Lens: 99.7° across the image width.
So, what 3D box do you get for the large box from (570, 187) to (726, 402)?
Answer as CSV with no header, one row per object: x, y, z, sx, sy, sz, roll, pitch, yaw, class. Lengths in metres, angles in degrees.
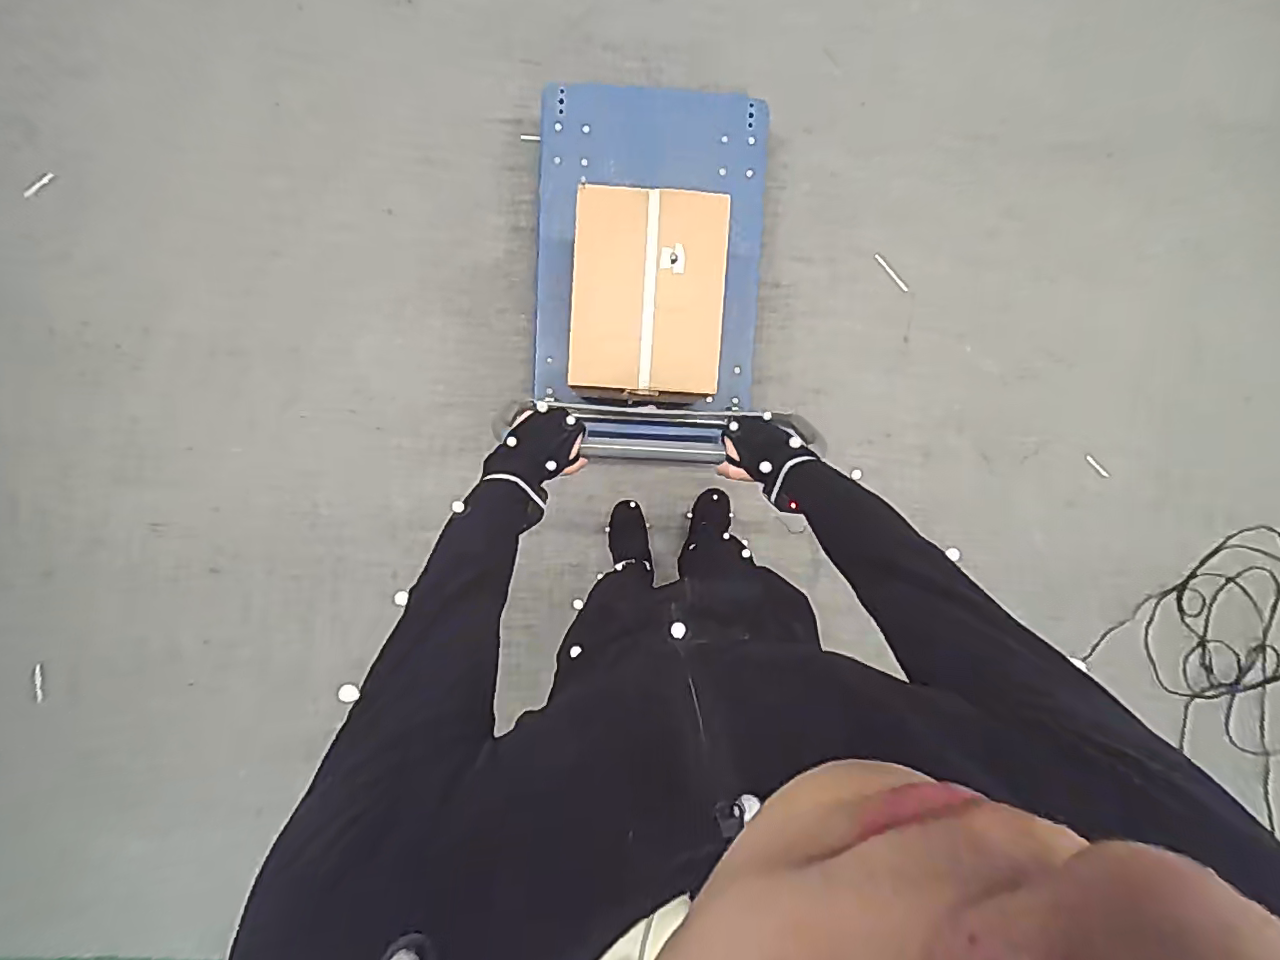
0.014,-0.400,1.263,0.320,0.320,0.408,3,93,-3,large box
